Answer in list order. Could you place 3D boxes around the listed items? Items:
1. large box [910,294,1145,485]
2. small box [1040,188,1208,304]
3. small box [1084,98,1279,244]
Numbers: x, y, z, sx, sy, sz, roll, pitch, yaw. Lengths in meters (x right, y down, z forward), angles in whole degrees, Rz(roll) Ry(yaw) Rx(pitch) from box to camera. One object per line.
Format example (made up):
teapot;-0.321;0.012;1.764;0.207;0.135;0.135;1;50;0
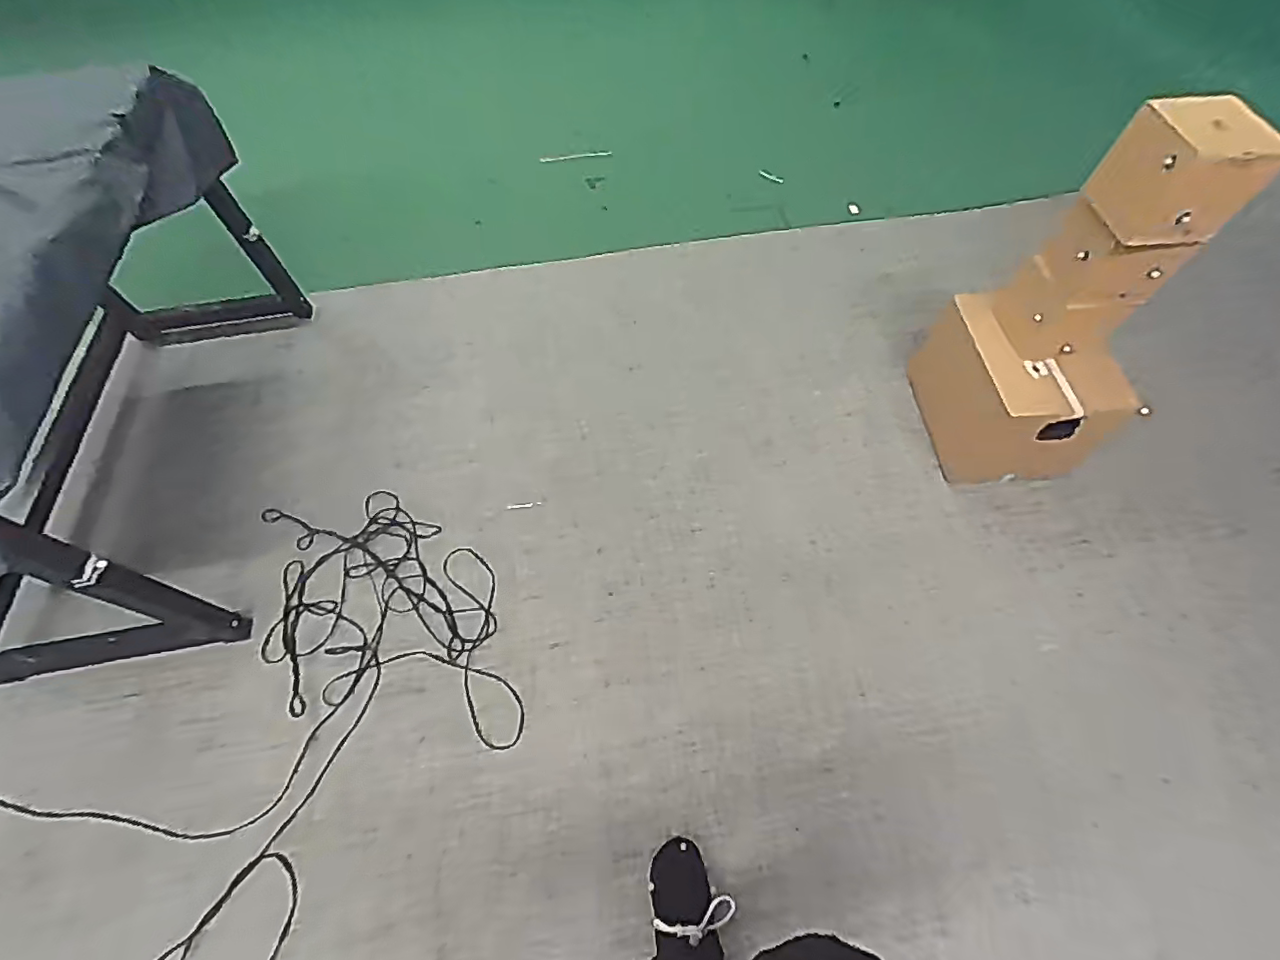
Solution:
large box;0.992;-0.237;1.454;0.320;0.320;0.408;-4;61;1
small box;0.992;-0.487;1.128;0.168;0.176;0.179;1;59;1
small box;0.971;-0.556;0.980;0.168;0.176;0.179;-5;61;-2
